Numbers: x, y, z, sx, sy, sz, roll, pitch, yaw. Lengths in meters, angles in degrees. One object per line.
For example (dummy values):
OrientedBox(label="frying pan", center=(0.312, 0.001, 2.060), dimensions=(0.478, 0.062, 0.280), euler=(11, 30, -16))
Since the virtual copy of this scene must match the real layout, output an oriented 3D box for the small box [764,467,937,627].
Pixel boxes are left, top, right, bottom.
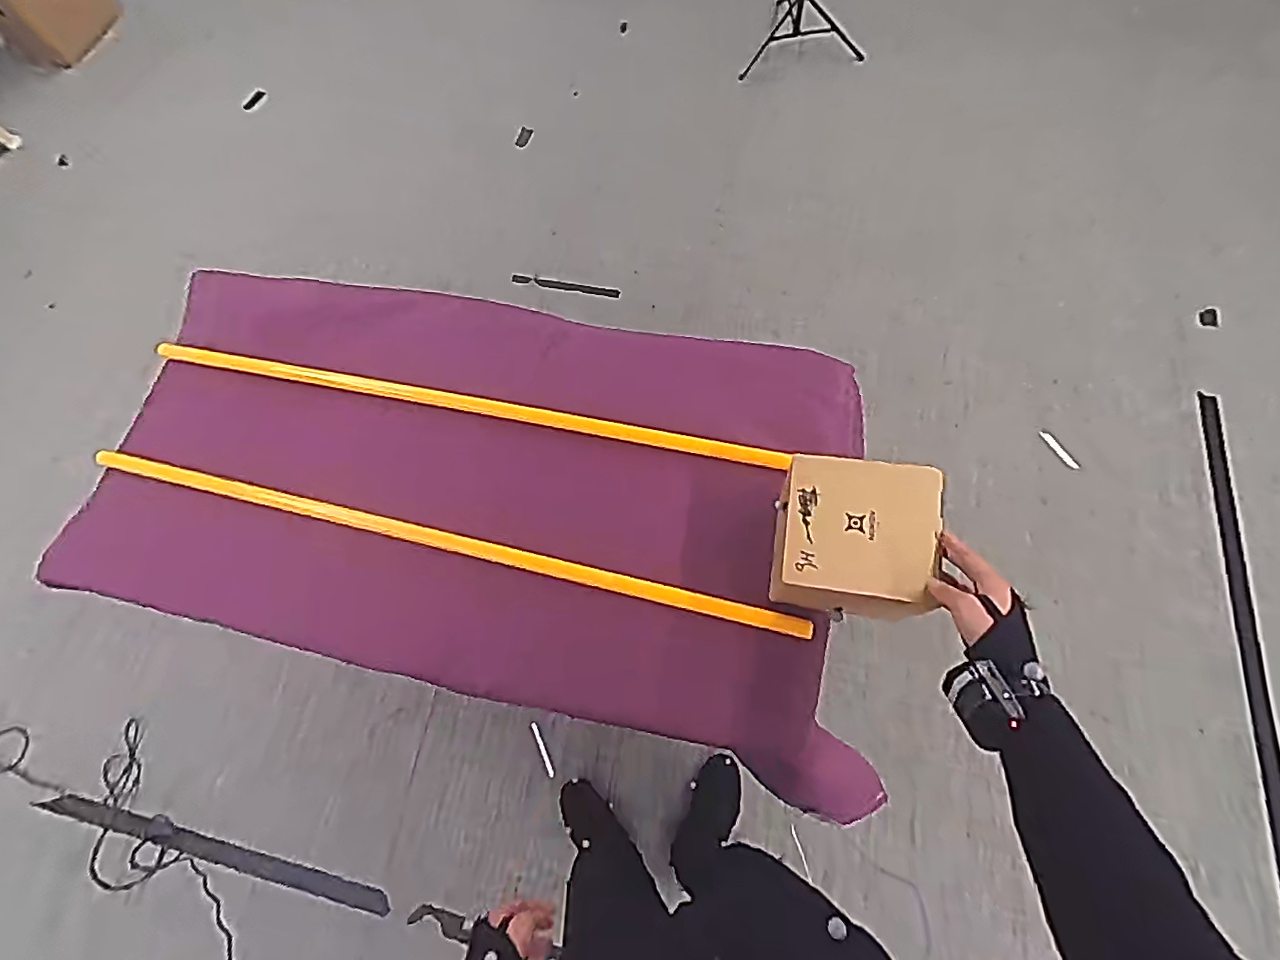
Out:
OrientedBox(label="small box", center=(0.269, 0.097, 0.717), dimensions=(0.179, 0.176, 0.168), euler=(8, 72, 11))
